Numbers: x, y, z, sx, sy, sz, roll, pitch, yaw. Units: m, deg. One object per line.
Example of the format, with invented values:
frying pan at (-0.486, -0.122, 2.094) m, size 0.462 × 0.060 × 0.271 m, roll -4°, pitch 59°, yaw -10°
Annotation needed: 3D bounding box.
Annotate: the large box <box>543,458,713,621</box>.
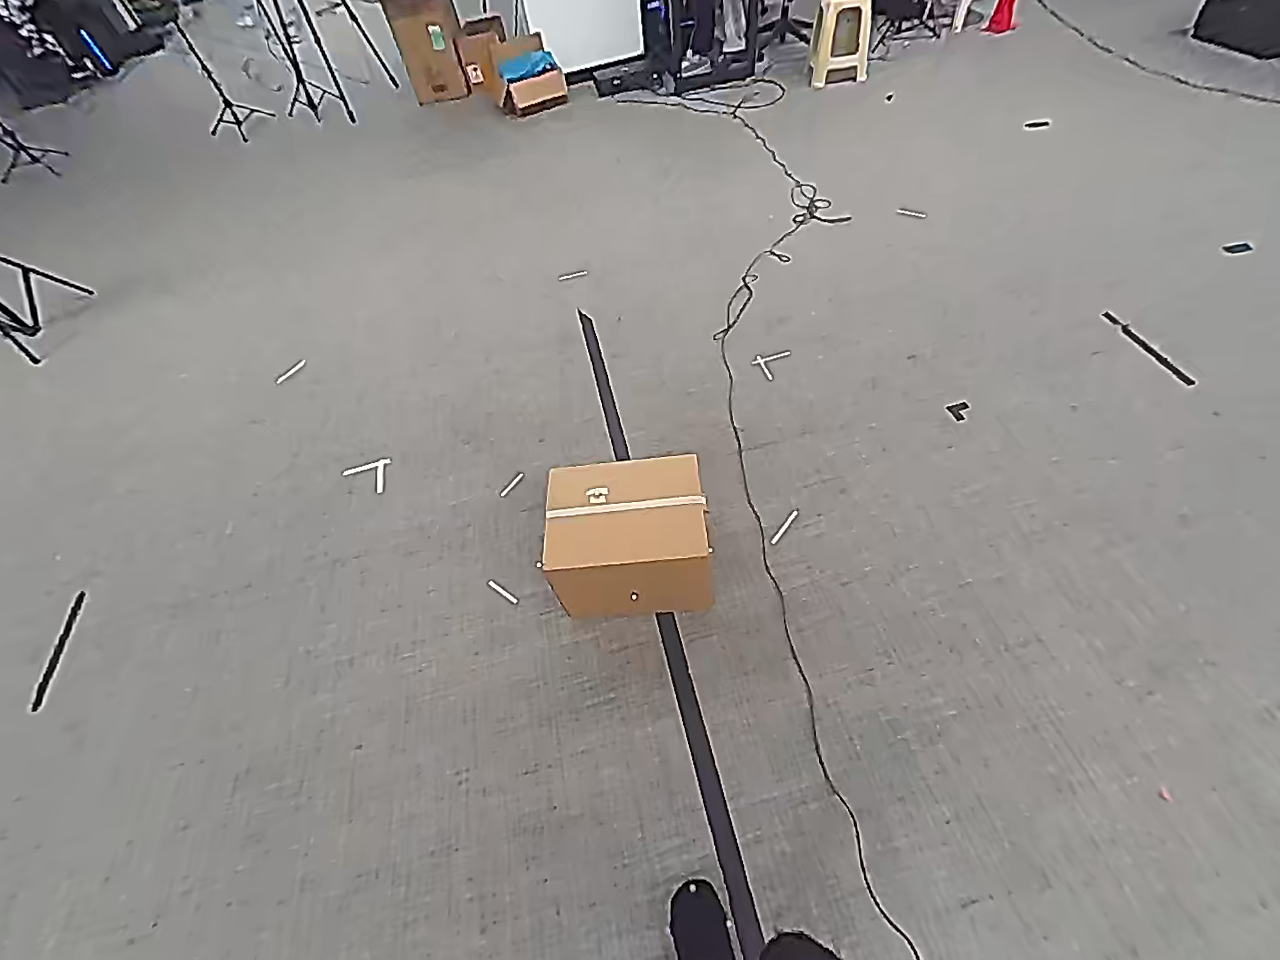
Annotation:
large box at (-0.021, 0.173, 1.485) m, size 0.408 × 0.320 × 0.320 m, roll -6°, pitch 52°, yaw 6°
